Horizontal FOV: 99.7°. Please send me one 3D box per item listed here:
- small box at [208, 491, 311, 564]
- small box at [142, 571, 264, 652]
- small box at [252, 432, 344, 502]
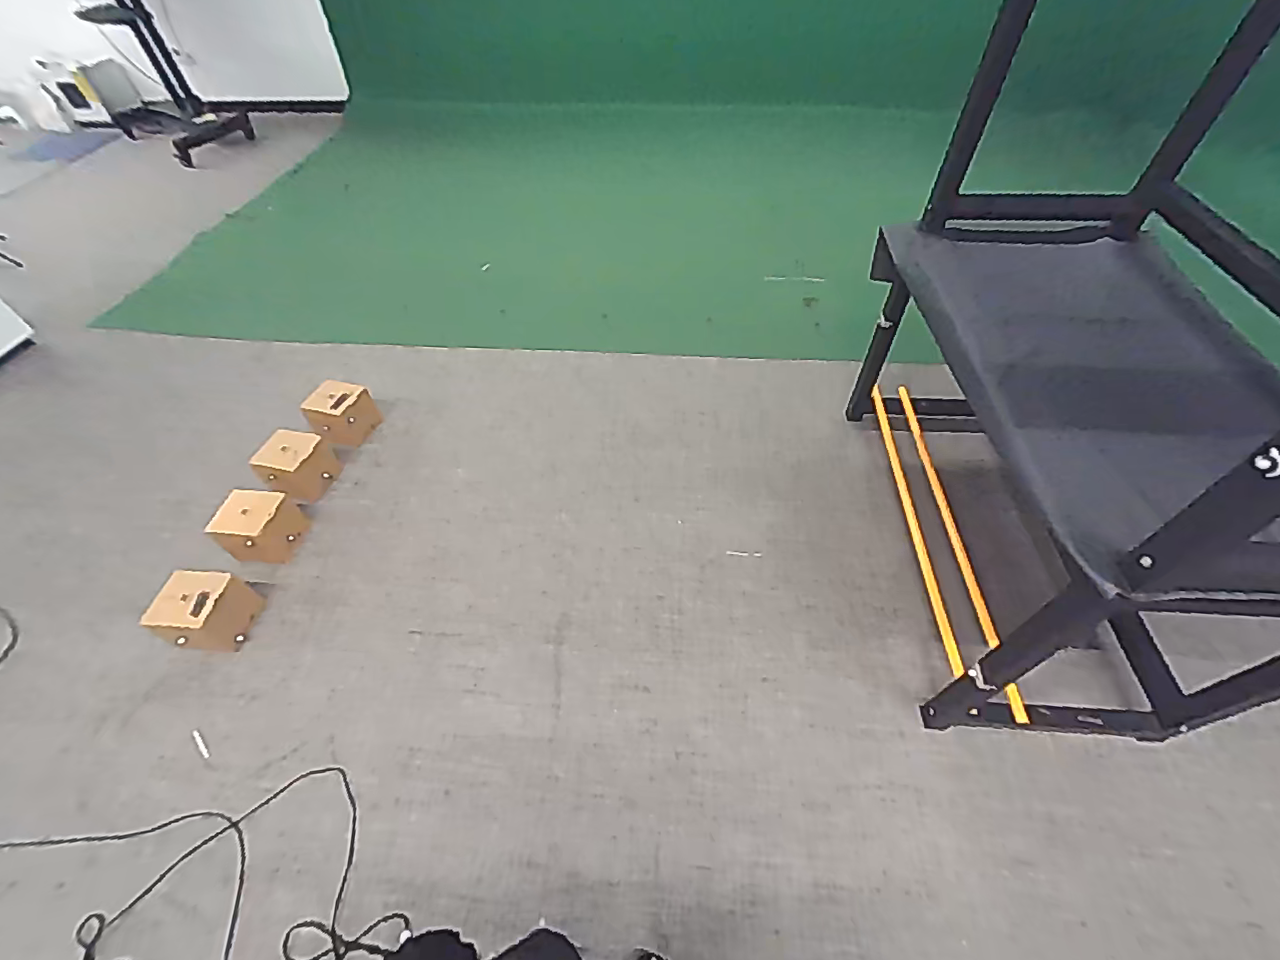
[{"bbox_3d":[-1.197,0.154,1.717,0.179,0.176,0.168,4,50,4],"label":"small box"},{"bbox_3d":[-1.220,0.375,1.529,0.179,0.176,0.168,2,50,4],"label":"small box"},{"bbox_3d":[-1.182,-0.043,1.880,0.179,0.176,0.168,10,51,9],"label":"small box"}]
